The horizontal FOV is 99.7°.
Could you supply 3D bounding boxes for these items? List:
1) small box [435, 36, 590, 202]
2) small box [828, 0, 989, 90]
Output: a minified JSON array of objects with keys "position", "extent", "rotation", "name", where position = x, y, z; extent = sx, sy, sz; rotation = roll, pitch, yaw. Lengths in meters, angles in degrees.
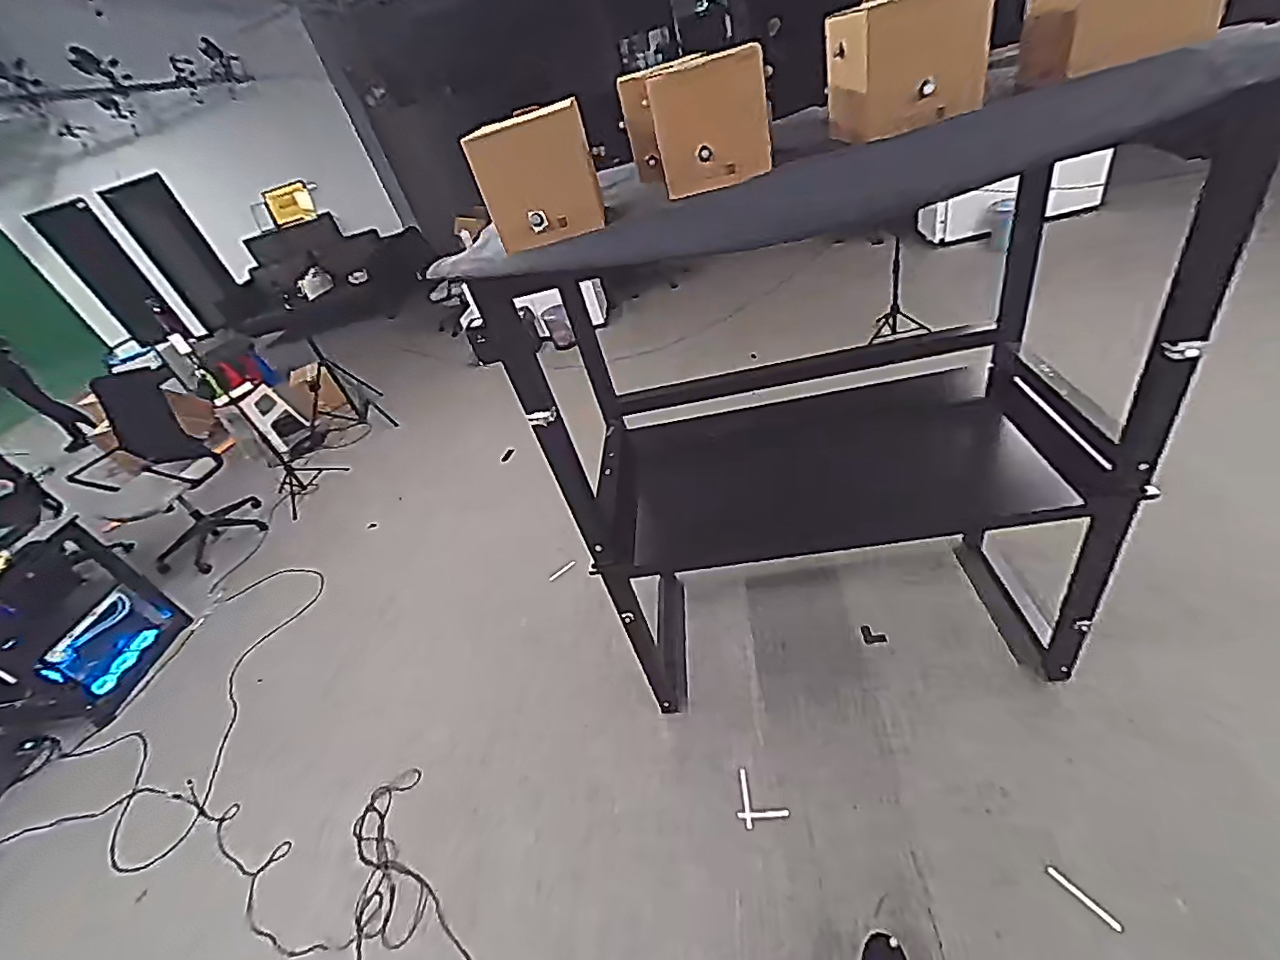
[{"position":[-0.179,-0.542,0.821],"extent":[0.168,0.176,0.179],"rotation":[-14,38,6],"name":"small box"},{"position":[0.373,-0.680,0.773],"extent":[0.168,0.176,0.179],"rotation":[-13,38,7],"name":"small box"}]
